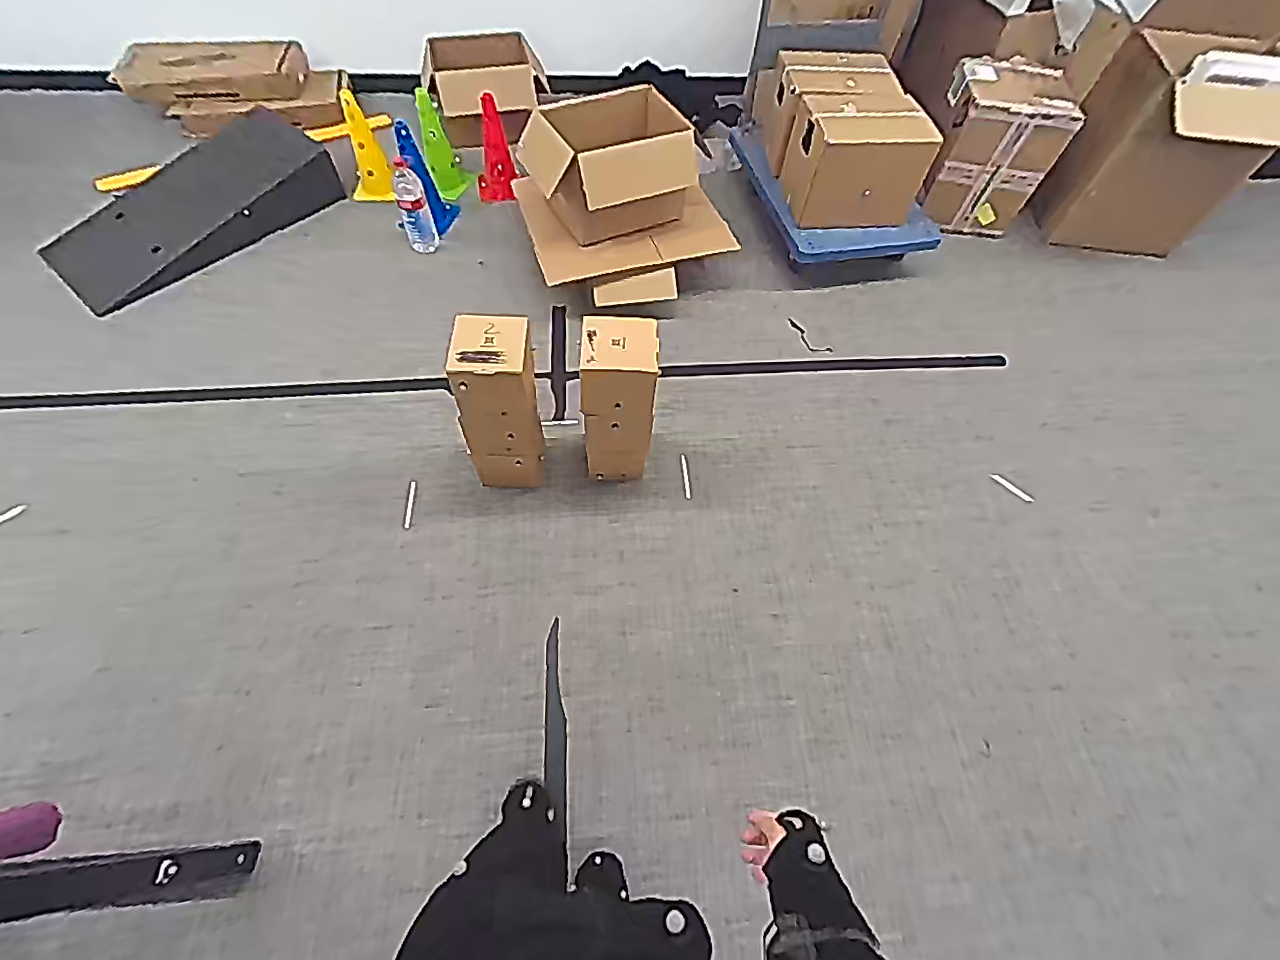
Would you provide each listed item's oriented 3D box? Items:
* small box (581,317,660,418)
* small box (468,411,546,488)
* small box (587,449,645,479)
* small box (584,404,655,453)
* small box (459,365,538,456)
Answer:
[{"bbox_3d":[-0.048,-0.262,1.289,0.179,0.176,0.168,2,60,-4],"label":"small box"},{"bbox_3d":[-0.374,-0.088,1.549,0.179,0.176,0.168,2,59,-2],"label":"small box"},{"bbox_3d":[-0.073,-0.113,1.582,0.168,0.176,0.179,-3,59,-6],"label":"small box"},{"bbox_3d":[-0.058,-0.182,1.432,0.179,0.176,0.168,-1,60,-5],"label":"small box"},{"bbox_3d":[-0.362,-0.177,1.415,0.168,0.176,0.179,2,58,-4],"label":"small box"}]
